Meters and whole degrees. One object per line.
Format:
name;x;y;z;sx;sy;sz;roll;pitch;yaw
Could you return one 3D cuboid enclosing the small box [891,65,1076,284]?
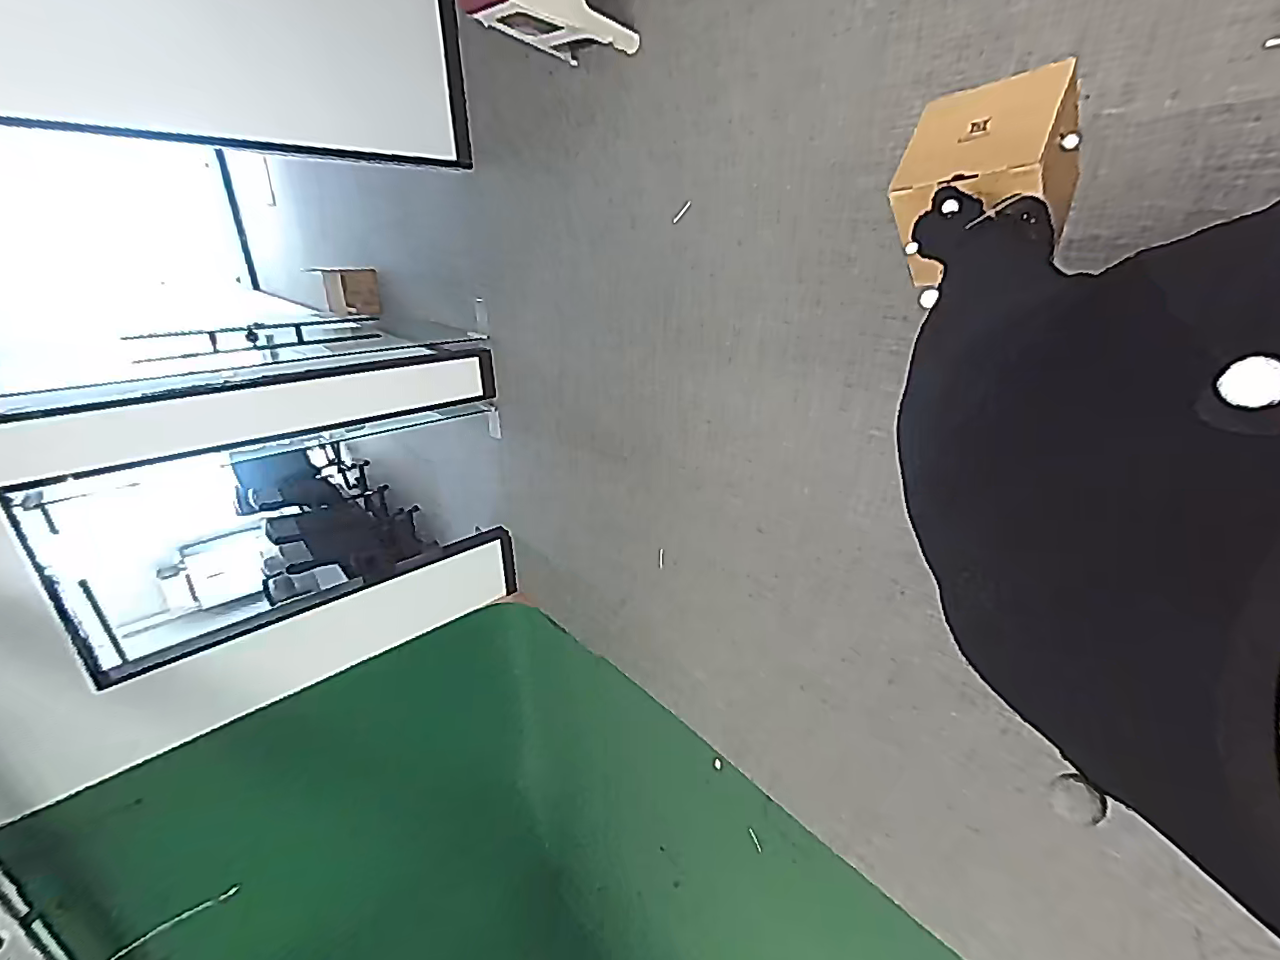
small box;0.468;-0.395;0.731;0.168;0.179;0.176;12;159;44
